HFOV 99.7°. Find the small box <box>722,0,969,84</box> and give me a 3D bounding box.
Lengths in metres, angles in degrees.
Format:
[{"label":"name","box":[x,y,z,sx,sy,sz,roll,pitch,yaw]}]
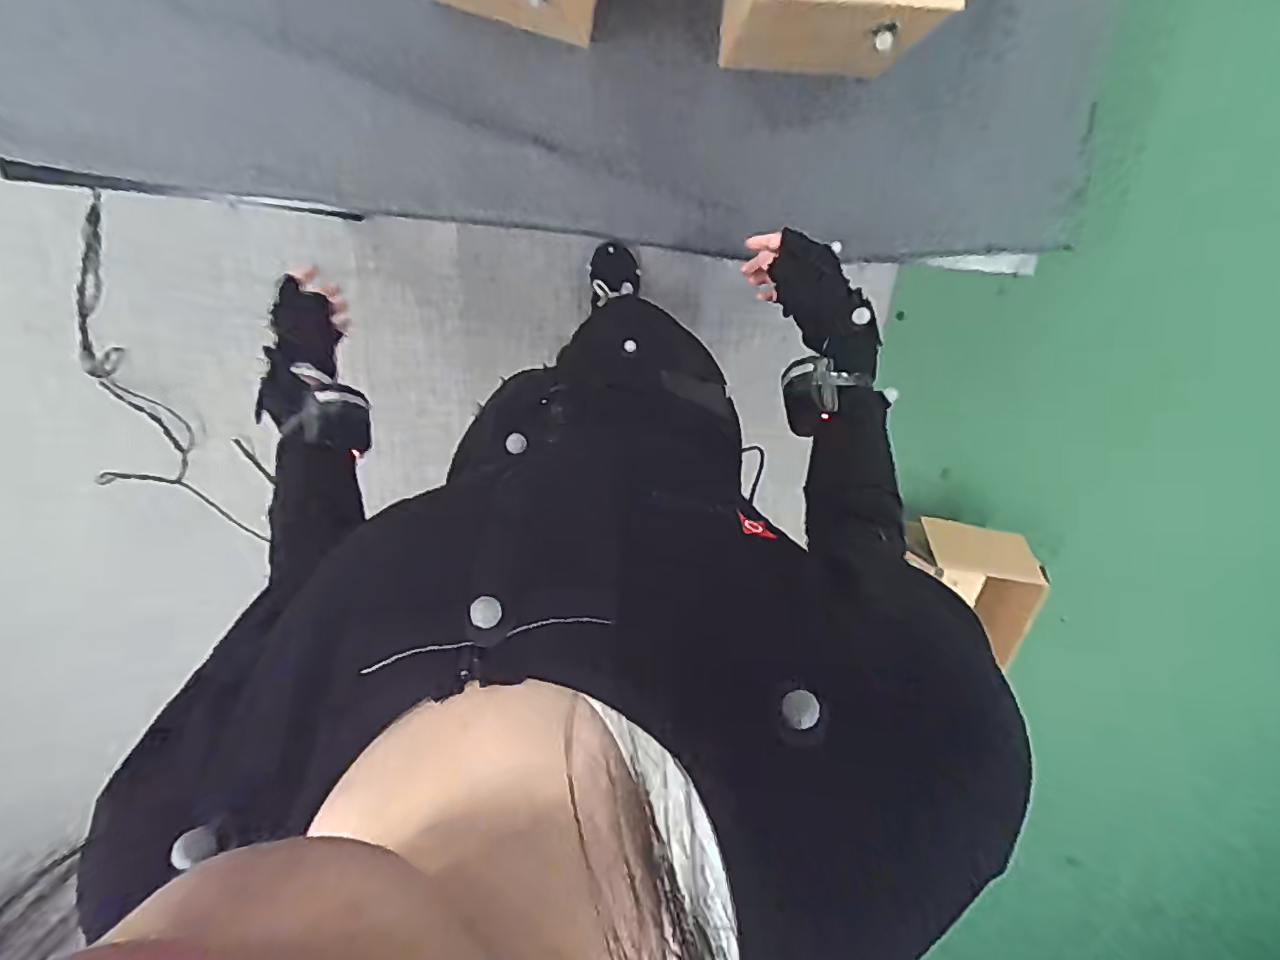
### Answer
[{"label":"small box","box":[0.182,-0.483,0.486,0.179,0.176,0.168,1,110,-3]}]
